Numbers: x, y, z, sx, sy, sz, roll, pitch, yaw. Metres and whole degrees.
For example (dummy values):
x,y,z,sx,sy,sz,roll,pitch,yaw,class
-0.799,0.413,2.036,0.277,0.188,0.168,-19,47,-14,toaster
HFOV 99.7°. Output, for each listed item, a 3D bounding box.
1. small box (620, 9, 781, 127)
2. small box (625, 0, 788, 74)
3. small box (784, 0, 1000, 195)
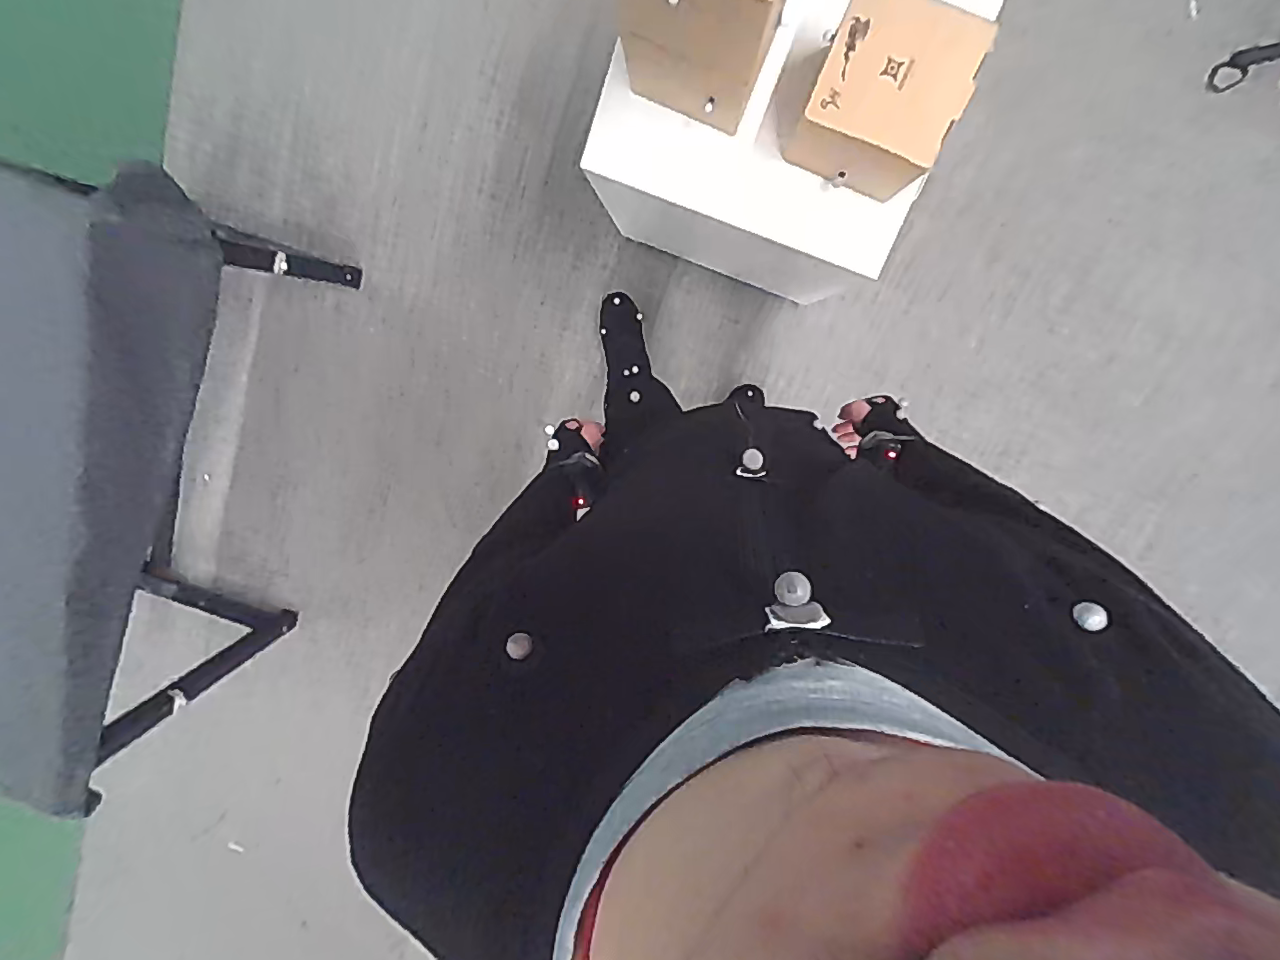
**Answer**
x,y,z,sx,sy,sz,roll,pitch,yaw,class
0.089,-0.608,0.720,0.179,0.176,0.168,22,103,-1,small box
0.086,-0.571,0.559,0.179,0.176,0.168,22,104,-3,small box
0.319,-0.509,0.727,0.179,0.176,0.168,22,105,-2,small box
